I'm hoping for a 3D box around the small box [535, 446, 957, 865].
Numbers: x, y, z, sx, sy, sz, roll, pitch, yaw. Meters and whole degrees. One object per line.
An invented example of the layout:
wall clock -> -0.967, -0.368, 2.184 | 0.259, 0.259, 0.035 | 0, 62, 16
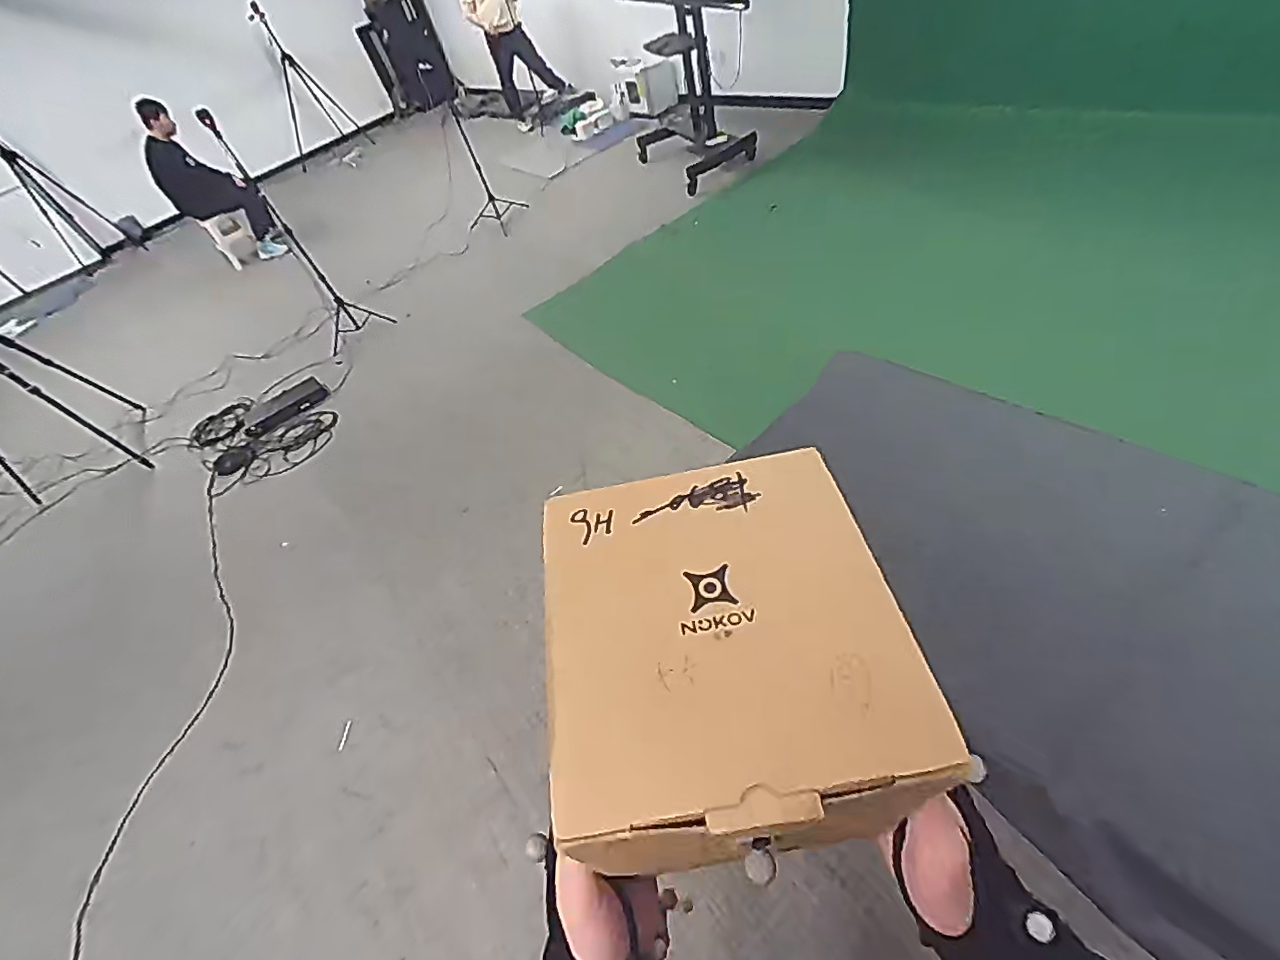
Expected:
small box -> 0.040, 0.109, 0.317 | 0.168, 0.176, 0.179 | -9, 50, 0
